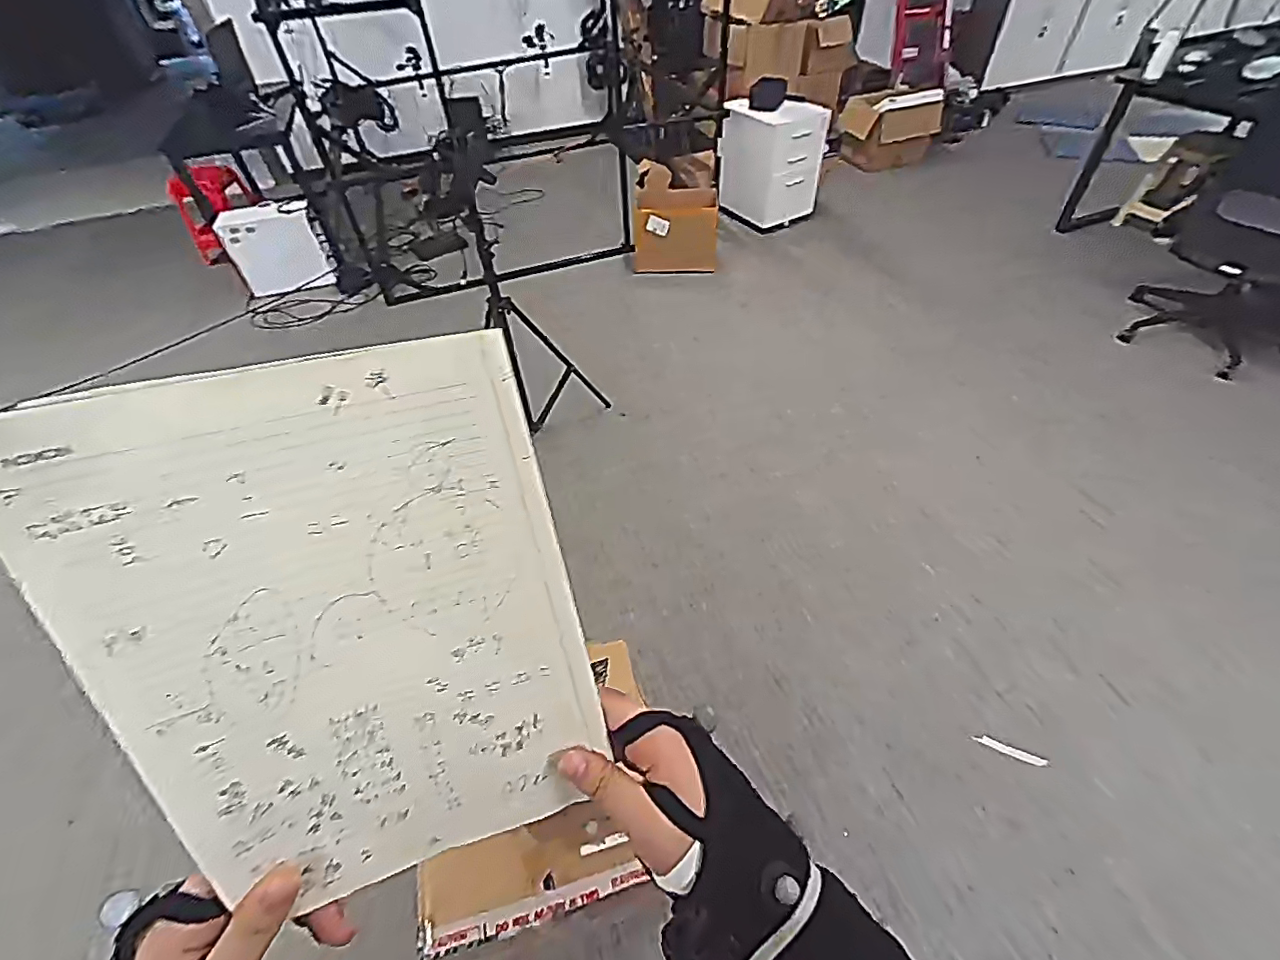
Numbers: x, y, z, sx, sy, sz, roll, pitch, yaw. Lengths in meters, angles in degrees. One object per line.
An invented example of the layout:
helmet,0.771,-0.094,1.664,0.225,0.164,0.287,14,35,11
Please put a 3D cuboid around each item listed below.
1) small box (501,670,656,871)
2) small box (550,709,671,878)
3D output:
small box,-0.081,0.381,0.708,0.168,0.176,0.179,-10,50,-9
small box,-0.063,0.484,0.836,0.179,0.176,0.168,-14,49,-11
